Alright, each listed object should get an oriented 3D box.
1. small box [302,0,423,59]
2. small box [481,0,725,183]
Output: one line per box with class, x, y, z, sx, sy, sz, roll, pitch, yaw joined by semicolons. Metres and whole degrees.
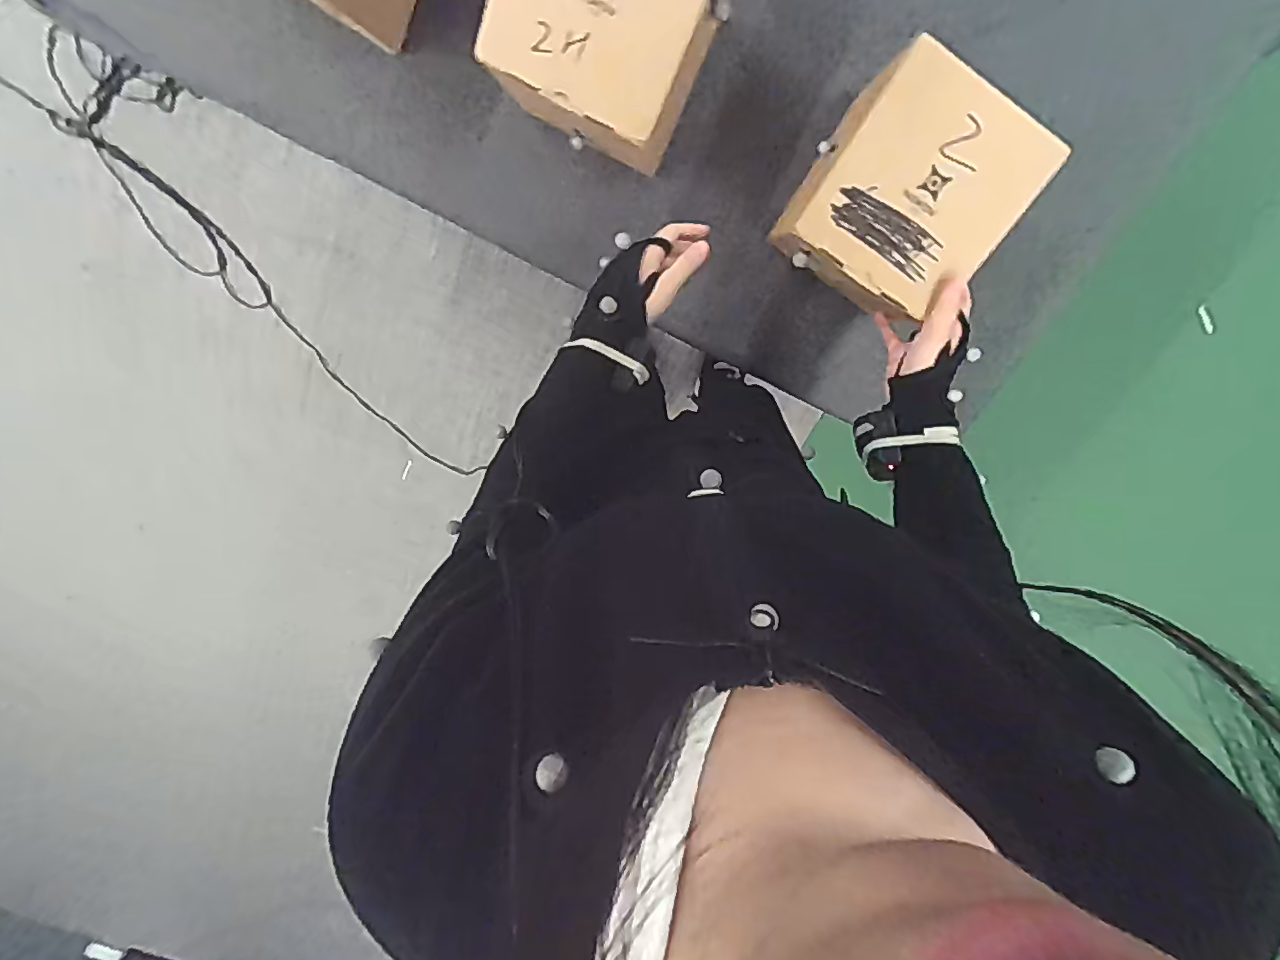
small box;-0.298;-0.548;0.502;0.168;0.176;0.179;31;109;-8
small box;-0.028;-0.426;0.530;0.168;0.176;0.179;26;110;-7
